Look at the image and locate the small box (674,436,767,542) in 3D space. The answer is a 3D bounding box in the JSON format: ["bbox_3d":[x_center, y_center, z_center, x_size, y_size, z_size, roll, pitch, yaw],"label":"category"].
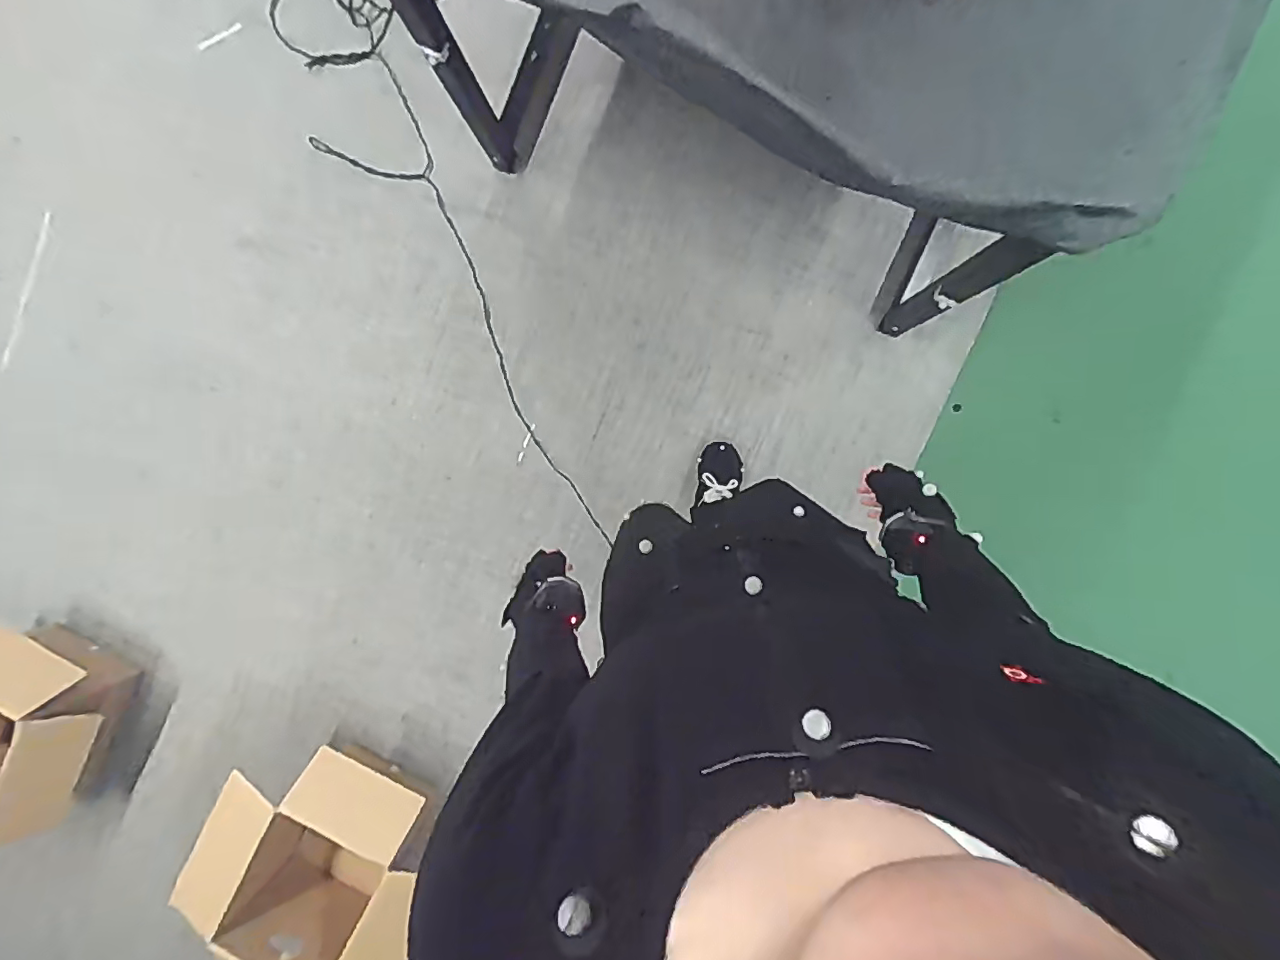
[{"bbox_3d":[0.200,0.026,1.405,0.179,0.176,0.168,-35,62,-18],"label":"small box"}]
